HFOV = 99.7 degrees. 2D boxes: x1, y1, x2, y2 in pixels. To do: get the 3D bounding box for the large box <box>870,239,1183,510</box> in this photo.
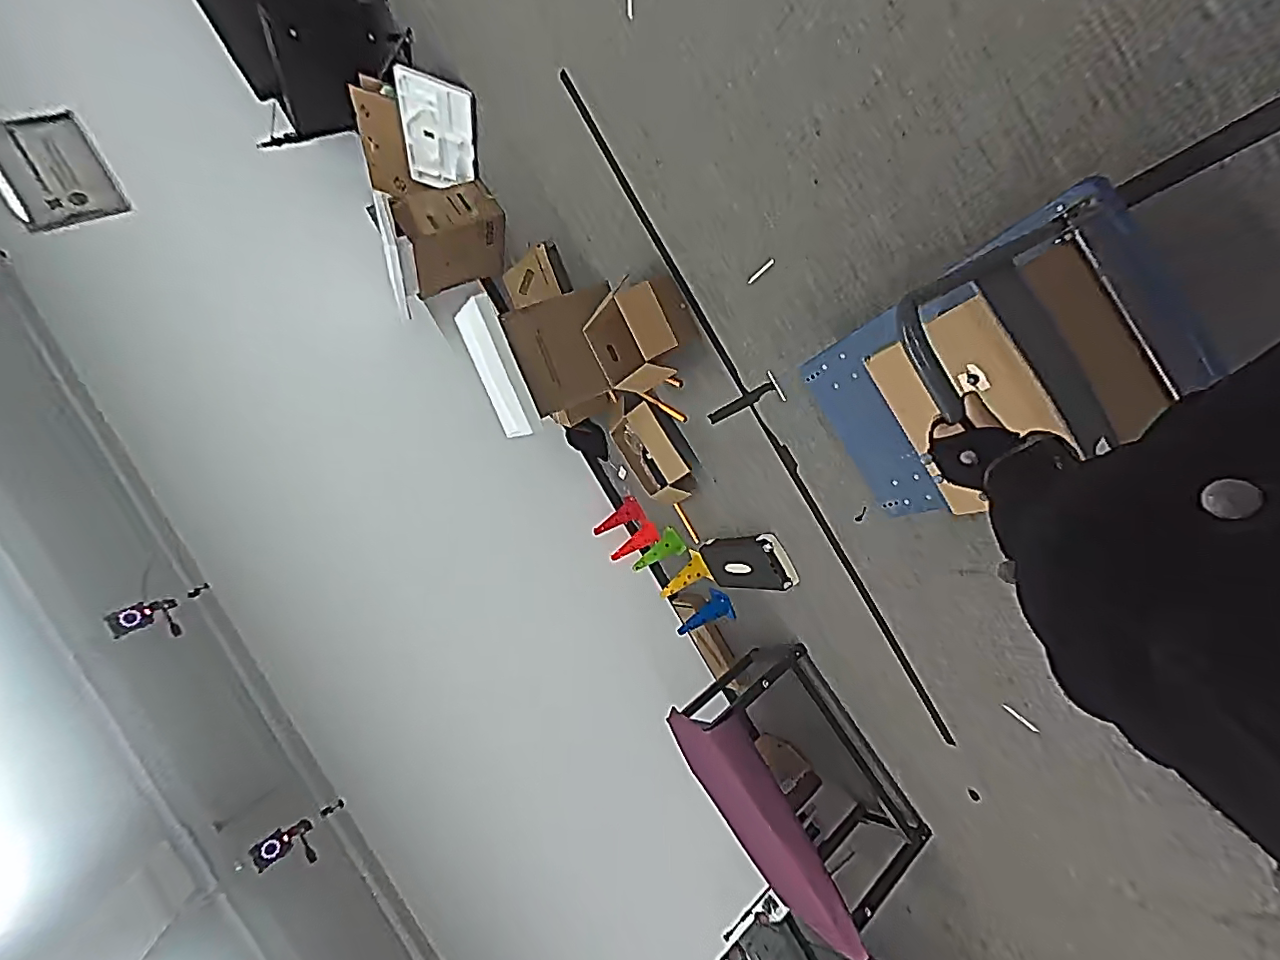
[{"bbox_3d":[0.781,-0.203,1.120,0.408,0.320,0.320,60,155,1],"label":"large box"}]
